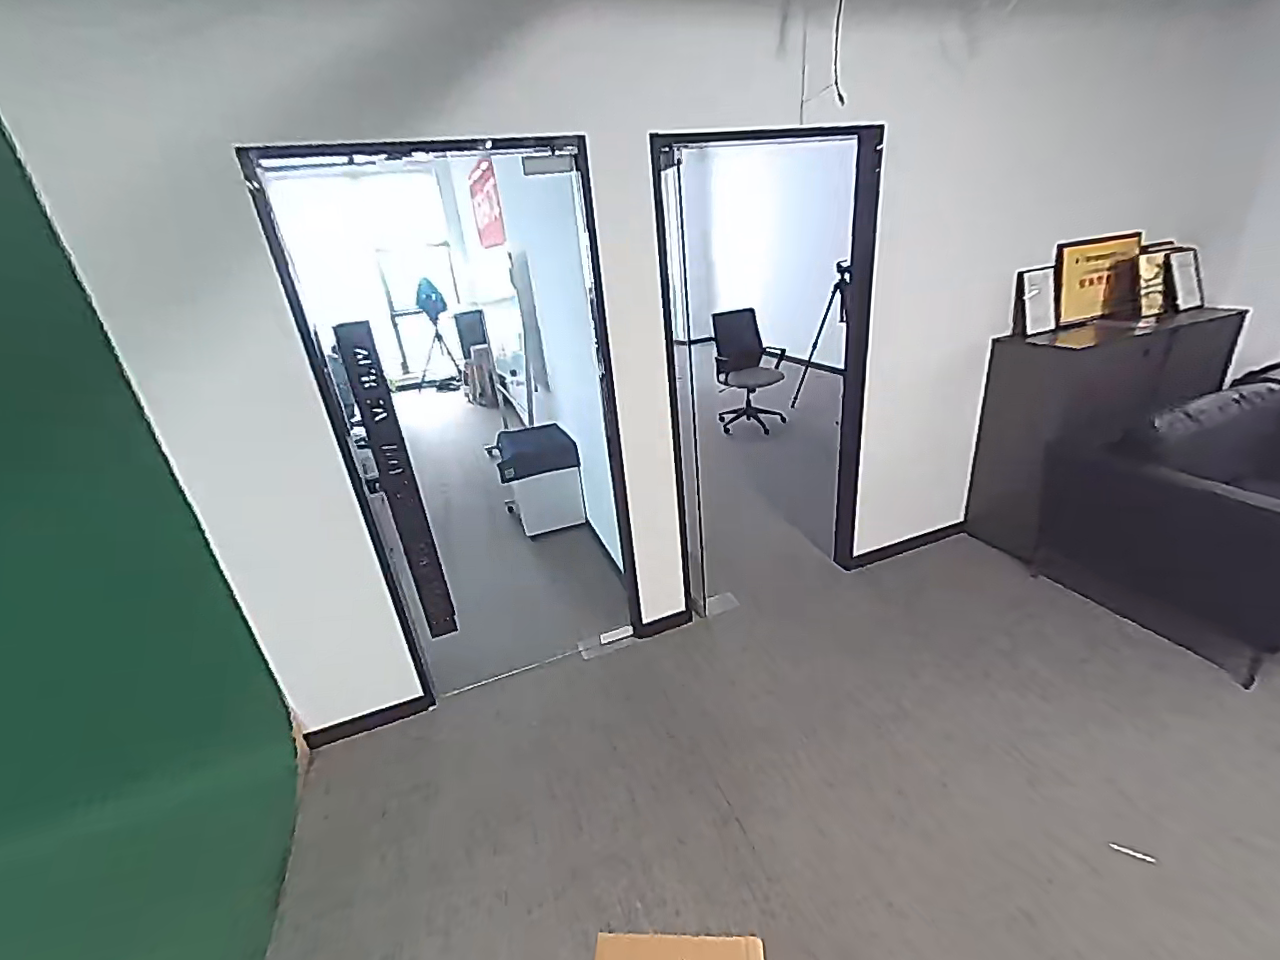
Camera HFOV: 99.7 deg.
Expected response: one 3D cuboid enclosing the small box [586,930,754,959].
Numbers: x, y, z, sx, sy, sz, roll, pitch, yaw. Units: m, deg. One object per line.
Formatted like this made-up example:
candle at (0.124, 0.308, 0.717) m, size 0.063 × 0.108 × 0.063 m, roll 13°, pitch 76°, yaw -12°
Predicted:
small box at (0.029, 0.567, 0.506) m, size 0.168 × 0.176 × 0.179 m, roll 0°, pitch 29°, yaw 3°
